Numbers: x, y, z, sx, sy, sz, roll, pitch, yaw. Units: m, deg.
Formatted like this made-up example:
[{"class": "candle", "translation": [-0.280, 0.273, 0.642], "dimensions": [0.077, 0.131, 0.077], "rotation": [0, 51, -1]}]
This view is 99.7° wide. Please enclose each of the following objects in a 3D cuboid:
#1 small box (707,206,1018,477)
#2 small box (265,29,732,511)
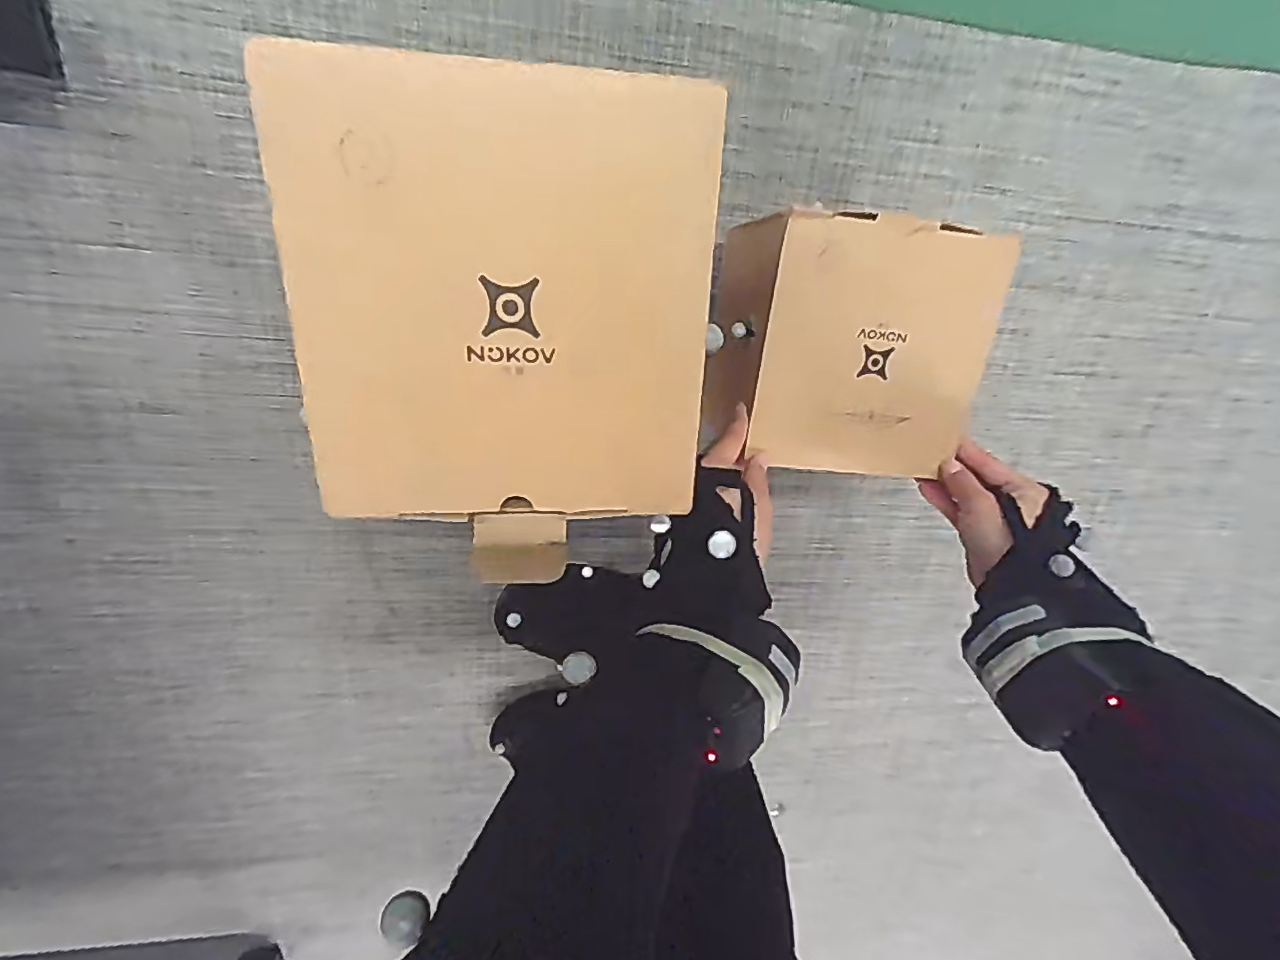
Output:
[{"class": "small box", "translation": [0.160, -0.117, 0.457], "dimensions": [0.168, 0.176, 0.179], "rotation": [4, 111, -6]}, {"class": "small box", "translation": [-0.061, -0.096, 0.293], "dimensions": [0.168, 0.176, 0.179], "rotation": [-1, 112, -9]}]
